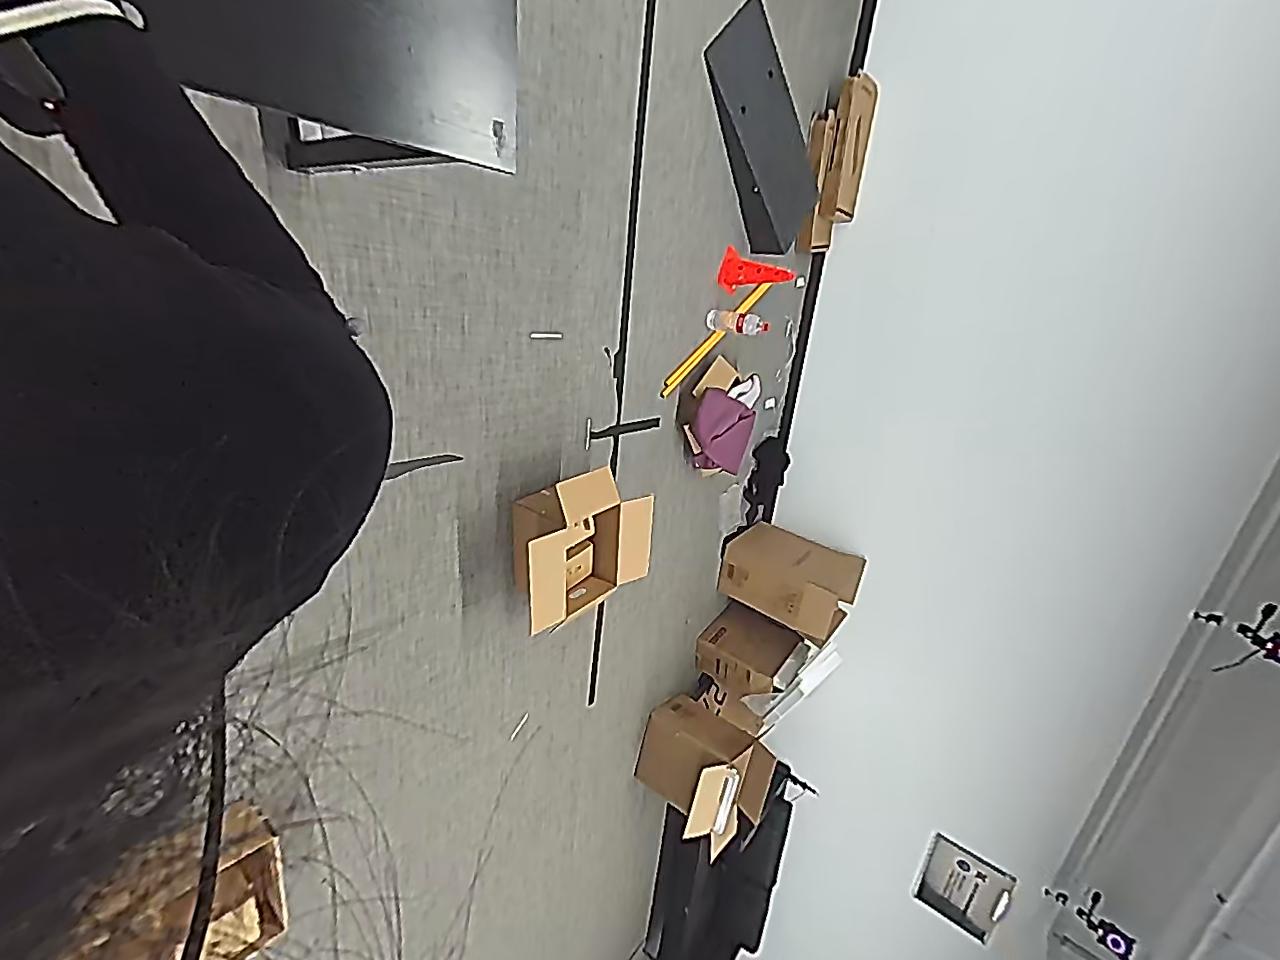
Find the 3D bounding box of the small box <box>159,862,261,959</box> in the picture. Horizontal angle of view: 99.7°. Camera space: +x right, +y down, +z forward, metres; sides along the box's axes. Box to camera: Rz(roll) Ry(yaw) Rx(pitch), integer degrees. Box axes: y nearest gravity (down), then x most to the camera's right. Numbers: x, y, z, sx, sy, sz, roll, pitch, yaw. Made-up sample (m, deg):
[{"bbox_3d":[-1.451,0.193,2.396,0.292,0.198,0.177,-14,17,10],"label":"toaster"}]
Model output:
[{"bbox_3d":[-1.172,1.207,1.476,0.179,0.176,0.168,-15,116,-49],"label":"small box"}]
